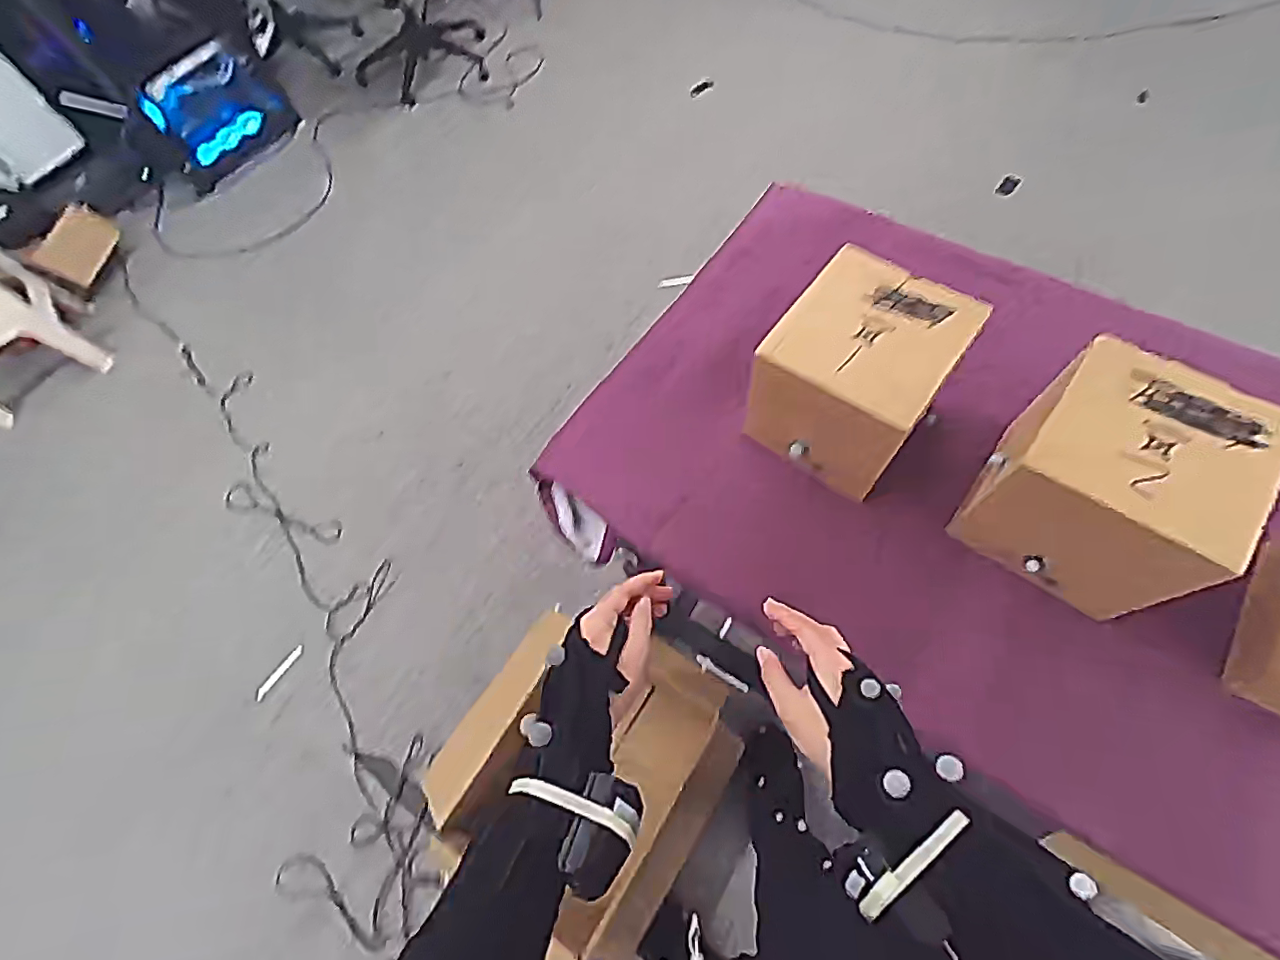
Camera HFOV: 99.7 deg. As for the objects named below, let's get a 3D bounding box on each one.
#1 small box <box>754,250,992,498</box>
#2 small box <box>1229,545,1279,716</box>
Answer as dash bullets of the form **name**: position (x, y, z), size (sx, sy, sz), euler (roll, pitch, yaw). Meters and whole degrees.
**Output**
- **small box**: position (0.243, -0.113, 0.612), size (0.168, 0.176, 0.179), euler (36, 73, 21)
- **small box**: position (0.660, 0.134, 0.444), size (0.168, 0.176, 0.179), euler (32, 70, 21)
